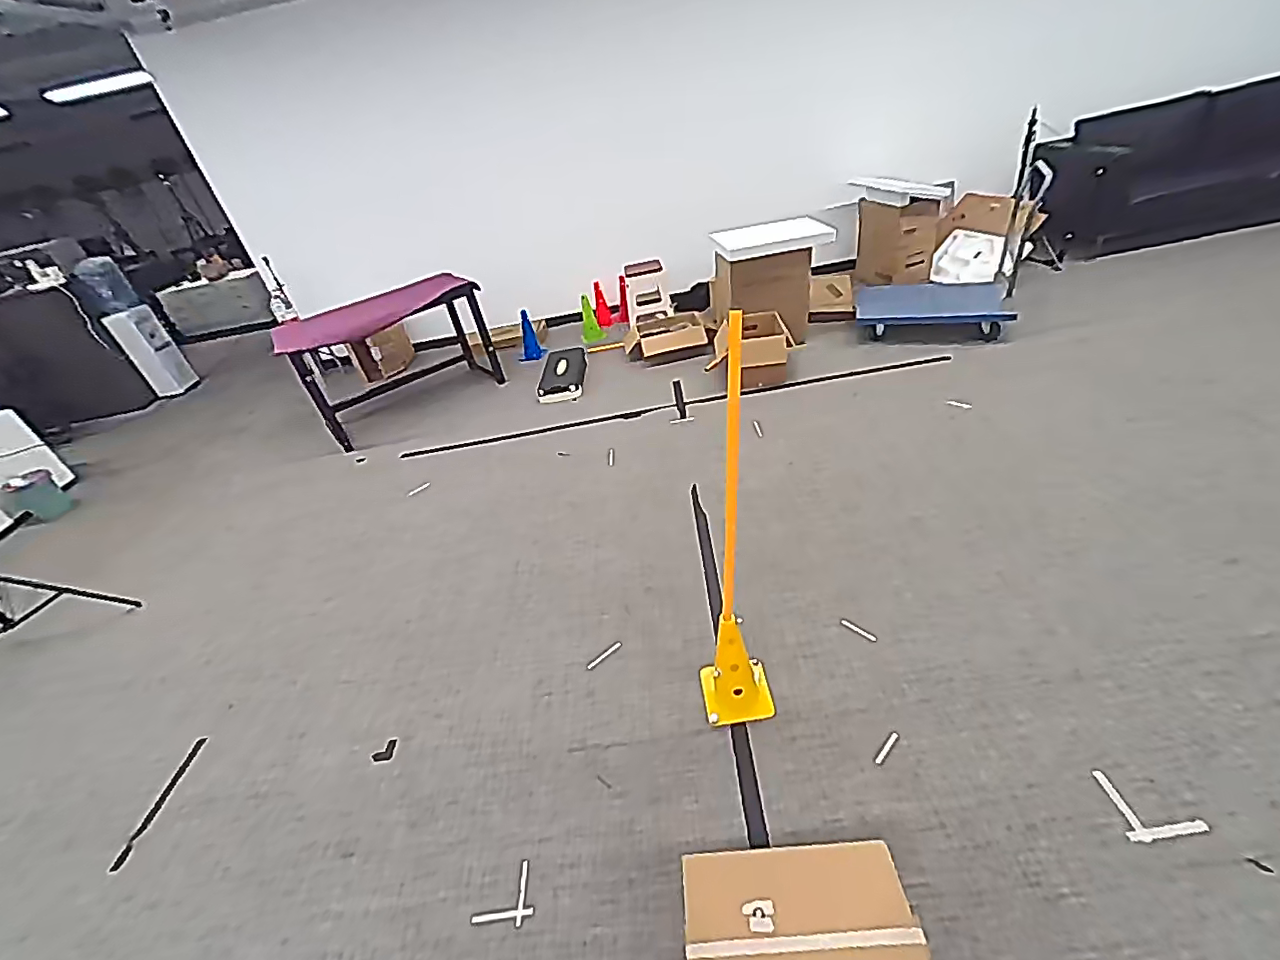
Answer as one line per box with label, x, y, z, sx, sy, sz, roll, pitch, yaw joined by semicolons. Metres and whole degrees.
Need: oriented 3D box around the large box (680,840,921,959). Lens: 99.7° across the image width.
large box;0.305;0.947;1.033;0.408;0.320;0.320;-8;32;4
